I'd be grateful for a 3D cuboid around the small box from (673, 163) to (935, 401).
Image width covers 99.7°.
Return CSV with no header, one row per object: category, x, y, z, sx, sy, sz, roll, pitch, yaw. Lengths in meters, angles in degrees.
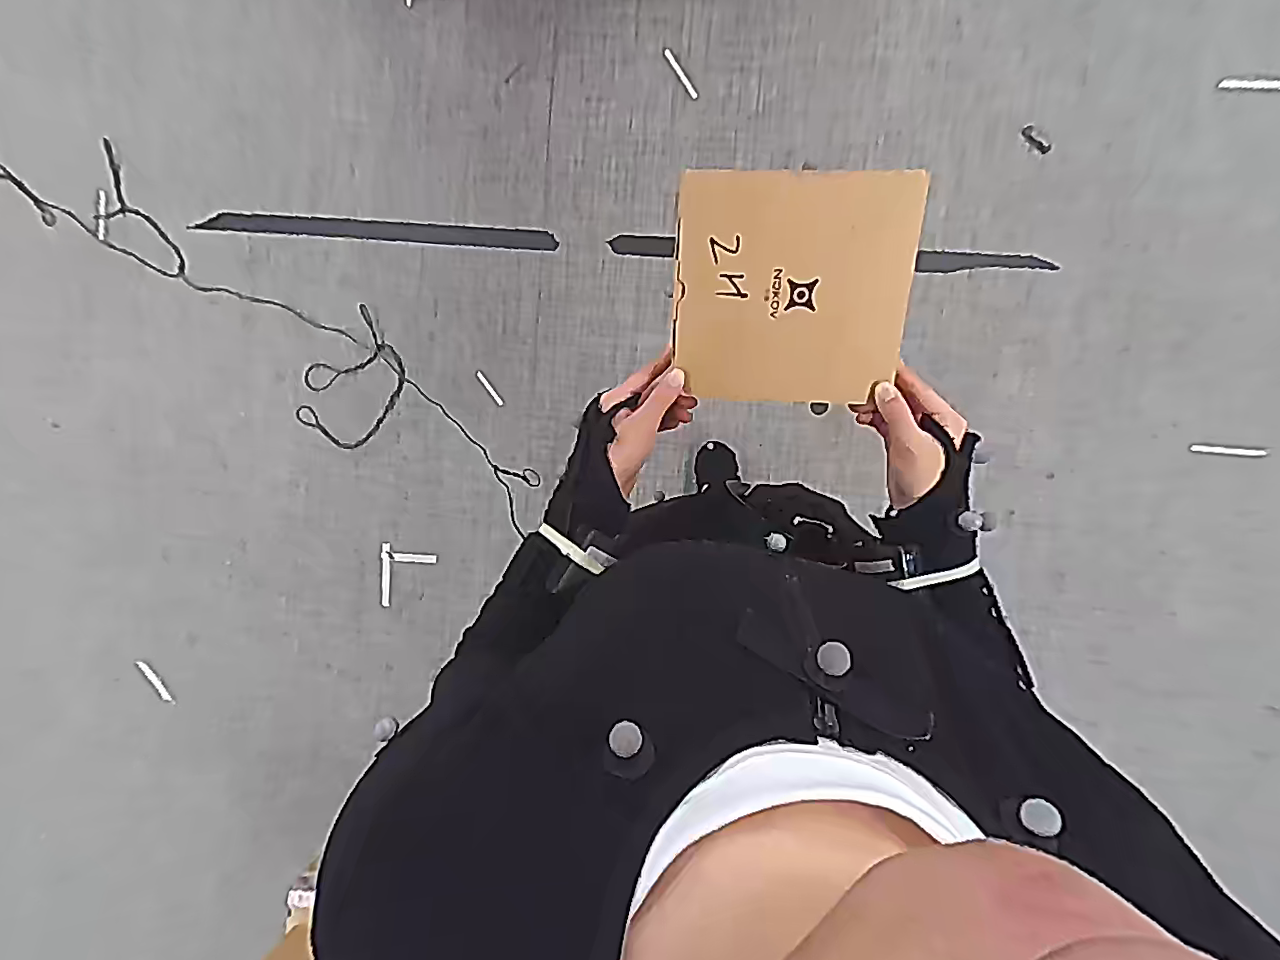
small box,0.125,-0.171,0.484,0.179,0.176,0.168,4,109,6
